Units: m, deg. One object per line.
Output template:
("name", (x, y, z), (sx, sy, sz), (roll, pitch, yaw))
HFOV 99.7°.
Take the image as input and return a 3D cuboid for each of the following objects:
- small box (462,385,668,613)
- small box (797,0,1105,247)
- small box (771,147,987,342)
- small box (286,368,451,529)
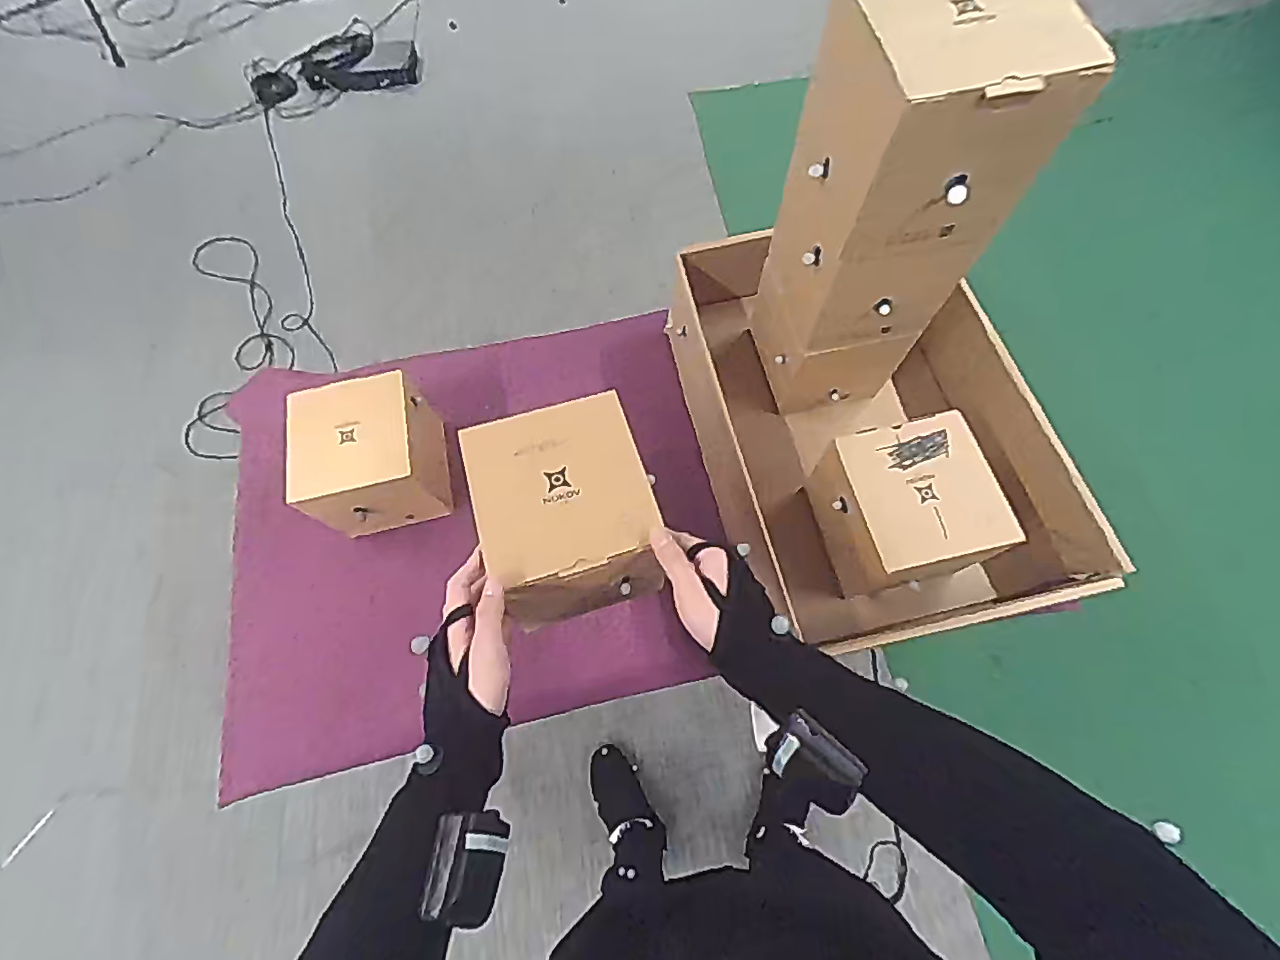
("small box", (-0.074, 0.032, 0.580), (0.168, 0.176, 0.179), (-16, 65, -8))
("small box", (0.266, -0.346, 0.514), (0.168, 0.176, 0.179), (-10, 70, -2))
("small box", (0.274, -0.289, 0.667), (0.168, 0.176, 0.179), (-10, 68, -2))
("small box", (-0.400, -0.037, 0.818), (0.168, 0.176, 0.179), (-13, 67, -4))
